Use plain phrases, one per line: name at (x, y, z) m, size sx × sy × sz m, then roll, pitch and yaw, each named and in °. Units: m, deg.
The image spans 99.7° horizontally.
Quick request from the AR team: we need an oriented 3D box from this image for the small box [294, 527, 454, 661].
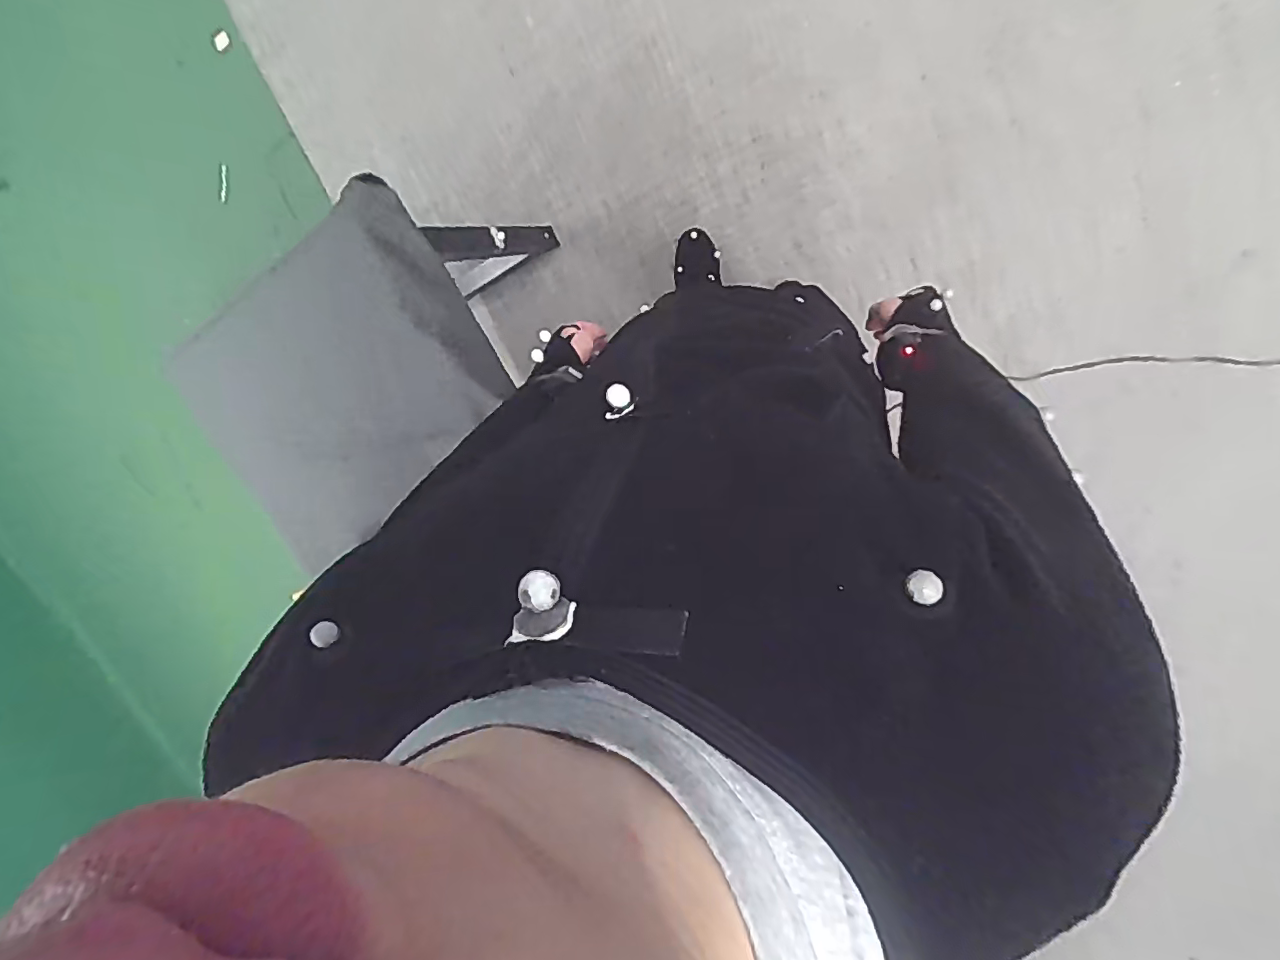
small box at (-0.497, 0.214, 1.033) m, size 0.179 × 0.176 × 0.168 m, roll -20°, pitch 107°, yaw 23°
